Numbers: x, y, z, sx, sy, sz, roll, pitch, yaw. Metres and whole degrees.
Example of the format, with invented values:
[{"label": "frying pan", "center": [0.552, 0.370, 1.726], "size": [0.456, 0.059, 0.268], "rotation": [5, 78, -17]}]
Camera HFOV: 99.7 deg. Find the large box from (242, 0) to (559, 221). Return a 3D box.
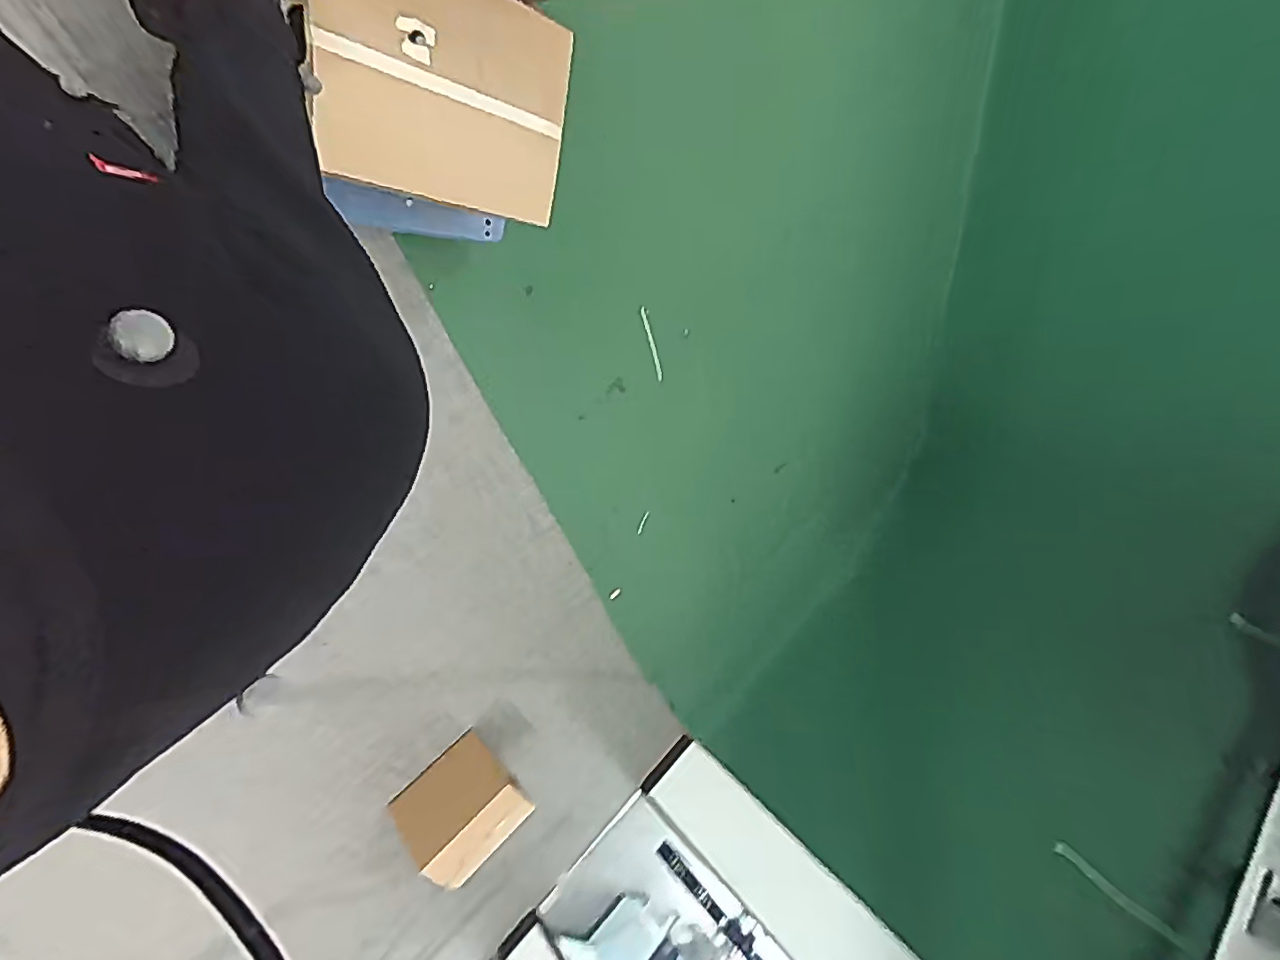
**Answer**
[{"label": "large box", "center": [-0.406, -0.664, 0.923], "size": [0.408, 0.320, 0.320], "rotation": [-8, 120, -43]}]
